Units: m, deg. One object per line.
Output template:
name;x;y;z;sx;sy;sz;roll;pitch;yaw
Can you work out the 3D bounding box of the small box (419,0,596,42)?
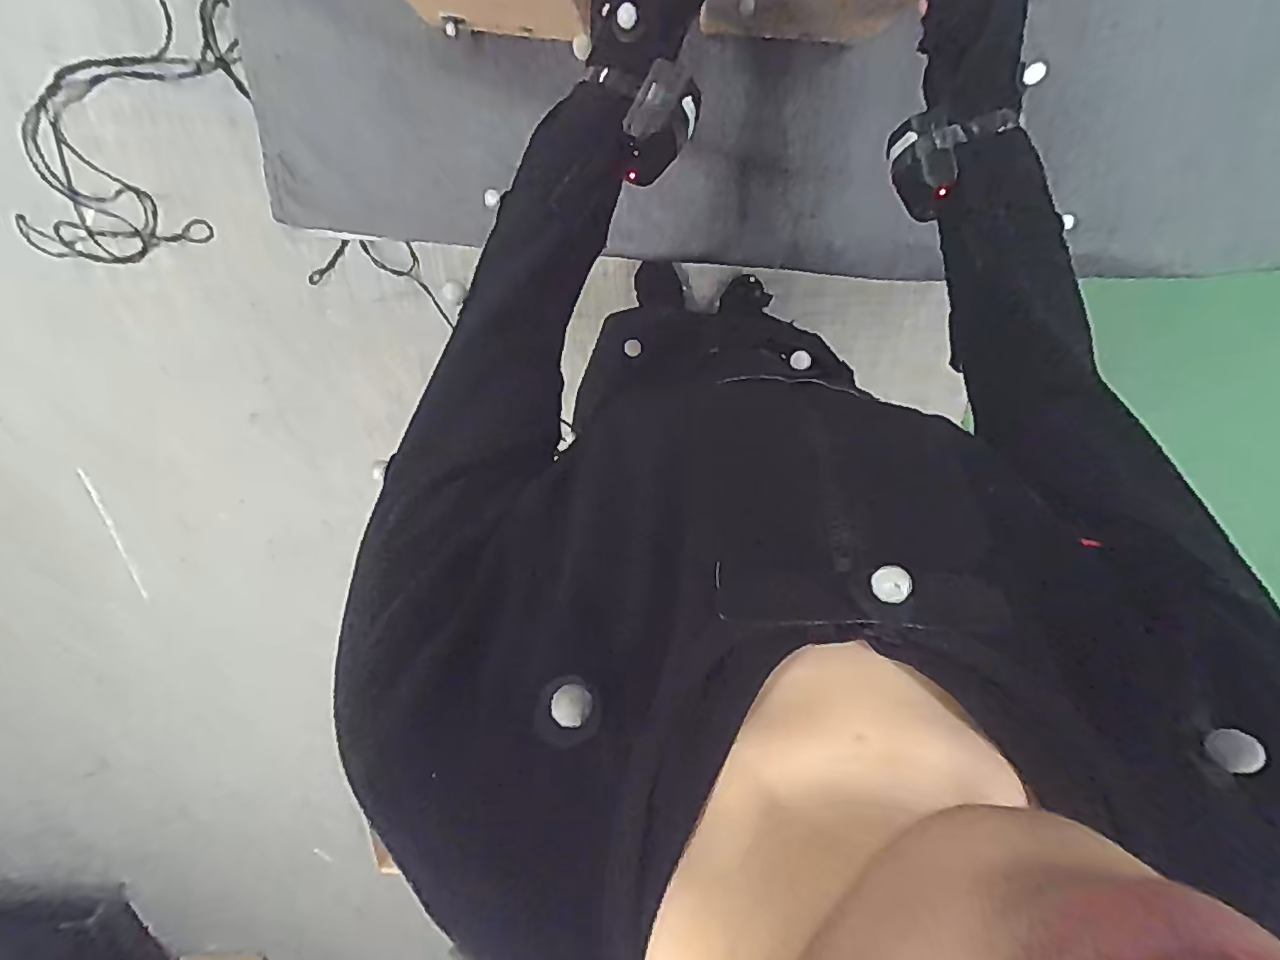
small box;-0.123;-0.505;0.454;0.168;0.176;0.179;6;112;0
